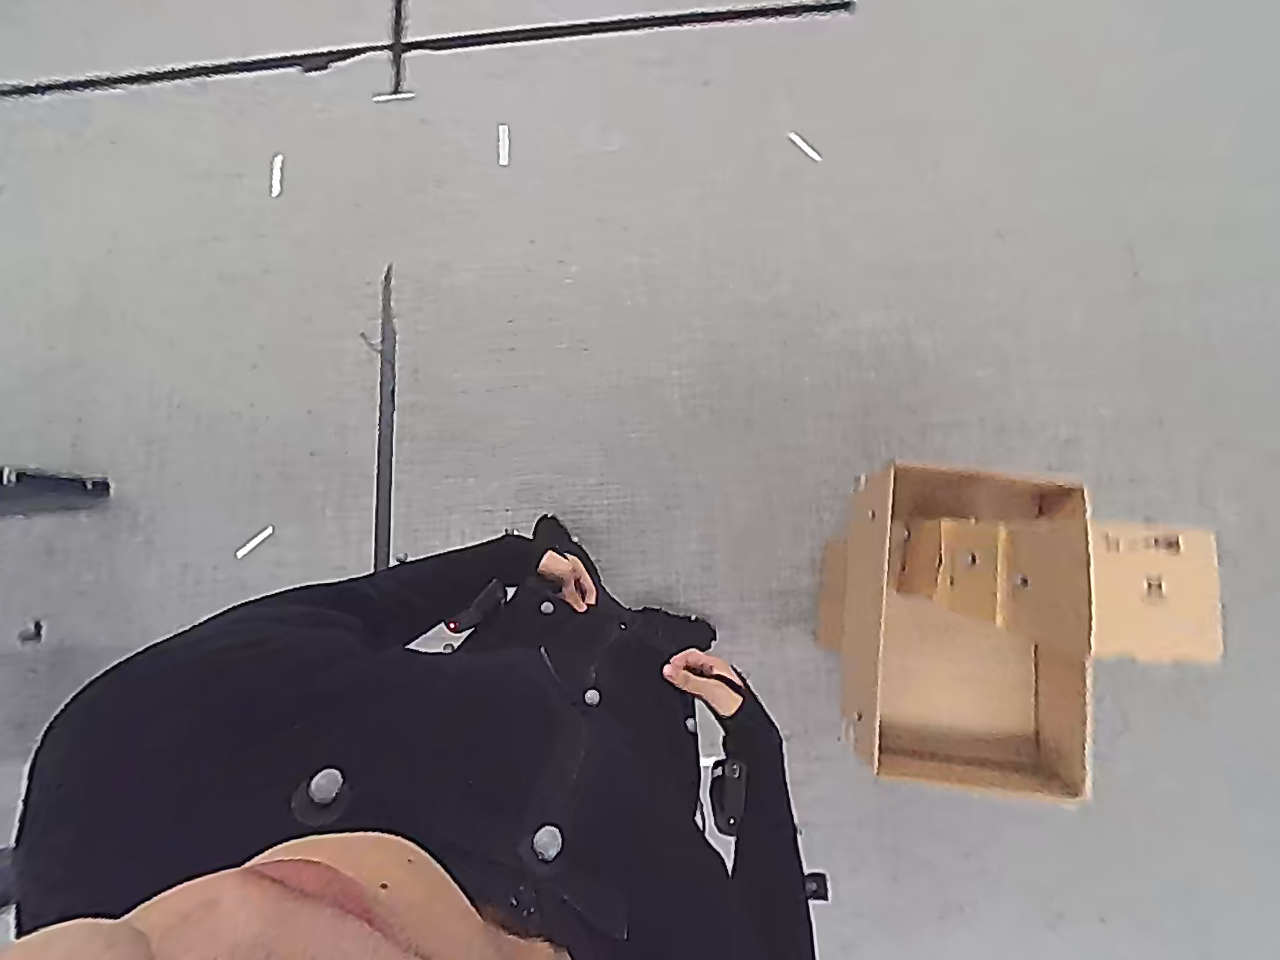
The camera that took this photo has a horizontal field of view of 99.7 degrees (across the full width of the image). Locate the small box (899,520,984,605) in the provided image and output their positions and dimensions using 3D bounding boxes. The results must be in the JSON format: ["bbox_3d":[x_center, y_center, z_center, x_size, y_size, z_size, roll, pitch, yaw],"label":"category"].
[{"bbox_3d":[0.657,0.179,1.108,0.179,0.176,0.168,9,85,3],"label":"small box"}]

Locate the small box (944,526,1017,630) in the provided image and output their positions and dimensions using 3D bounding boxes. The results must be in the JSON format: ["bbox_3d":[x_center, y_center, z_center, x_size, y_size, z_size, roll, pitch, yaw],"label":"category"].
[{"bbox_3d":[0.660,0.174,0.945,0.179,0.176,0.168,6,85,2],"label":"small box"}]

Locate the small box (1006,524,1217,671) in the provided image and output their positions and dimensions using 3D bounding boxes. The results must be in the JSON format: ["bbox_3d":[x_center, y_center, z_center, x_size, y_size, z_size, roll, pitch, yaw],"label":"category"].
[{"bbox_3d":[0.664,0.159,0.782,0.168,0.176,0.179,5,85,2],"label":"small box"}]
